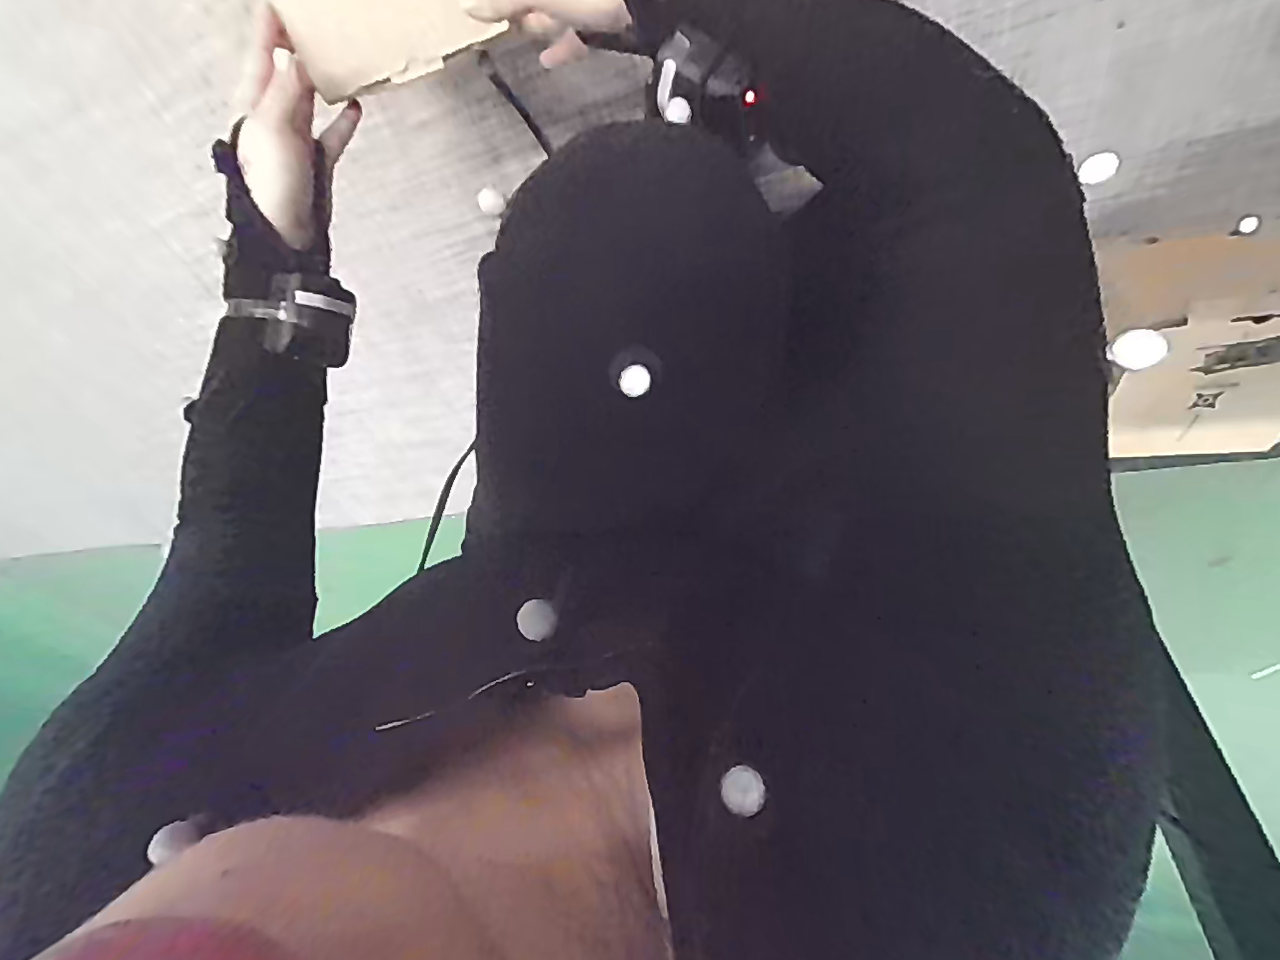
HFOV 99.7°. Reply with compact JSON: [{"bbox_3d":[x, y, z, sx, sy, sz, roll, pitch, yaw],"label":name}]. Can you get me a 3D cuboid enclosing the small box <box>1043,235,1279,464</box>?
[{"bbox_3d":[0.563,-0.138,0.569,0.168,0.176,0.179,-2,137,16],"label":"small box"}]
